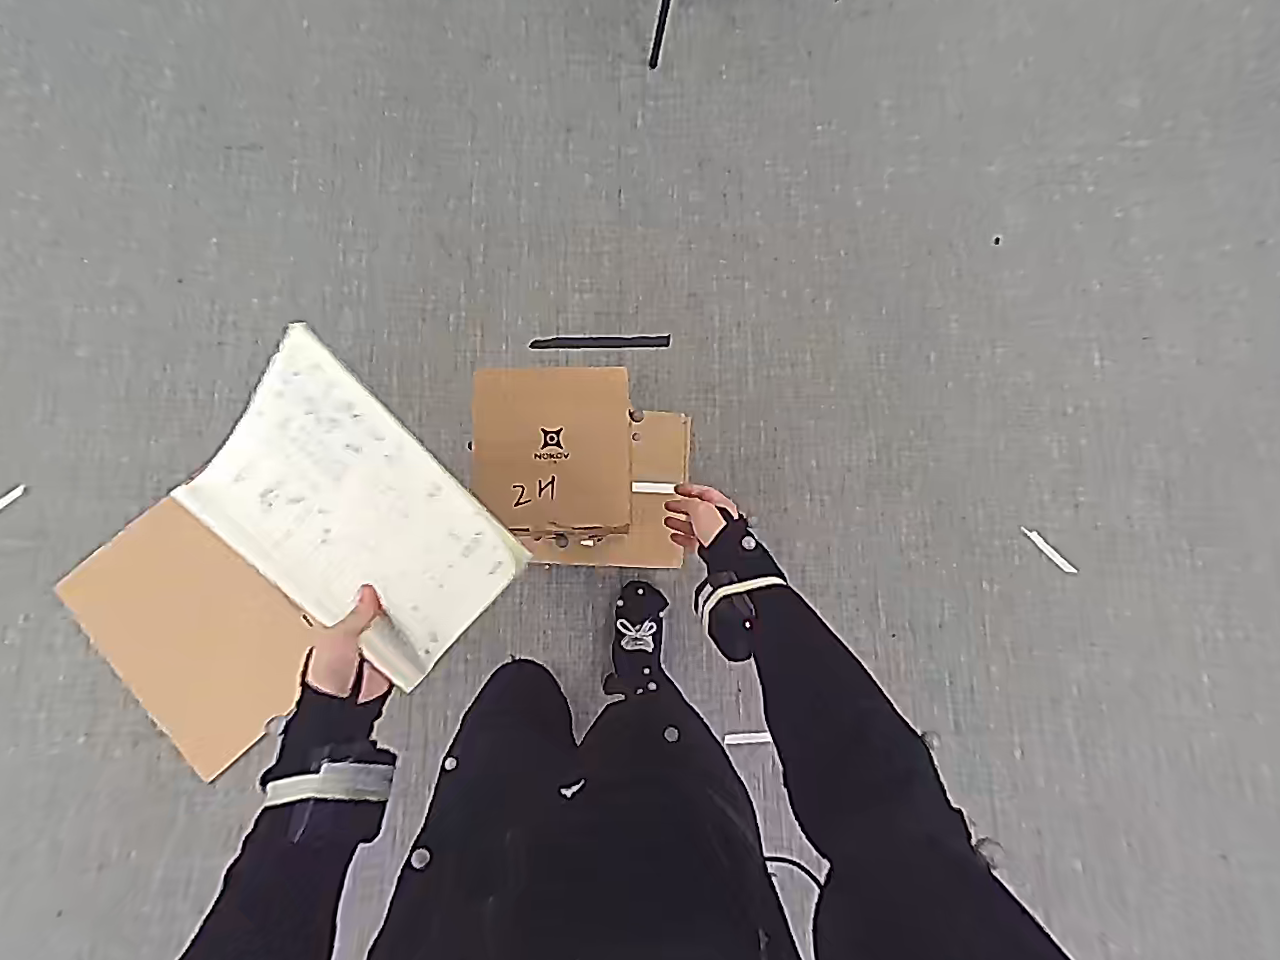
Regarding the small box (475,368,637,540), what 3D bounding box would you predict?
[{"bbox_3d":[-0.088,-0.020,0.638,0.168,0.176,0.179,-1,82,-1],"label":"small box"}]
